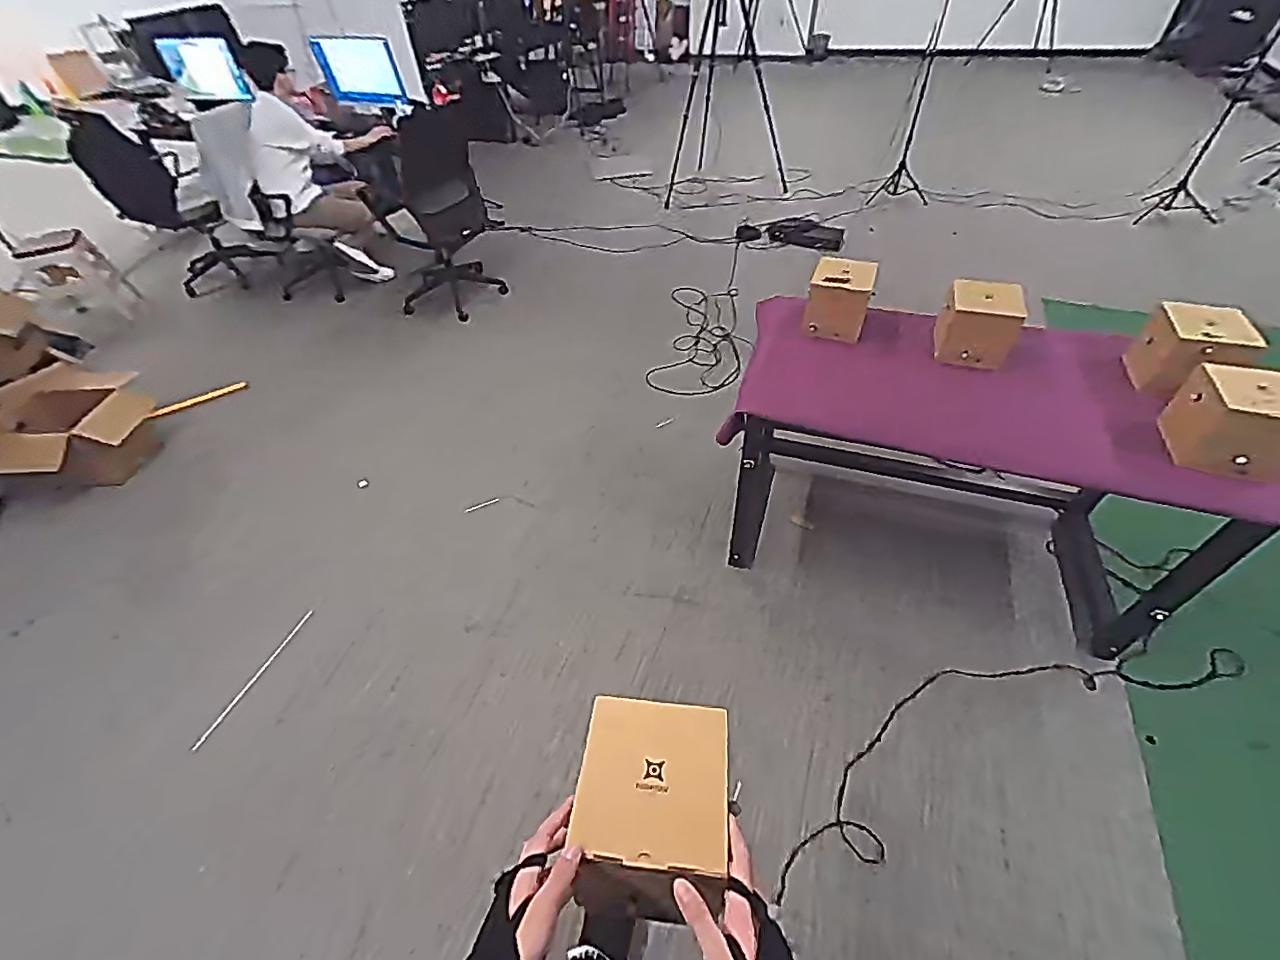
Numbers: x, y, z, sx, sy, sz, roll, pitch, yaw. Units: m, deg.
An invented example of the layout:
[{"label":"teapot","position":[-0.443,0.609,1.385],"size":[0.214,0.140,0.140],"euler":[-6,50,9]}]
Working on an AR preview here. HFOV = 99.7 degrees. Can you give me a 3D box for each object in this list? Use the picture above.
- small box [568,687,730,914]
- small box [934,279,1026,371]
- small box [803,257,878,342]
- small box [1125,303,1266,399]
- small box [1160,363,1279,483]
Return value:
[{"label":"small box","position":[0.017,0.383,0.653],"size":[0.168,0.176,0.179],"euler":[5,39,6]},{"label":"small box","position":[0.920,-0.424,1.478],"size":[0.168,0.176,0.179],"euler":[13,49,16]},{"label":"small box","position":[0.588,-0.532,1.596],"size":[0.168,0.176,0.179],"euler":[15,50,17]},{"label":"small box","position":[1.359,-0.315,1.342],"size":[0.168,0.176,0.179],"euler":[12,48,16]},{"label":"small box","position":[1.276,-0.123,1.159],"size":[0.168,0.176,0.179],"euler":[13,48,18]}]
